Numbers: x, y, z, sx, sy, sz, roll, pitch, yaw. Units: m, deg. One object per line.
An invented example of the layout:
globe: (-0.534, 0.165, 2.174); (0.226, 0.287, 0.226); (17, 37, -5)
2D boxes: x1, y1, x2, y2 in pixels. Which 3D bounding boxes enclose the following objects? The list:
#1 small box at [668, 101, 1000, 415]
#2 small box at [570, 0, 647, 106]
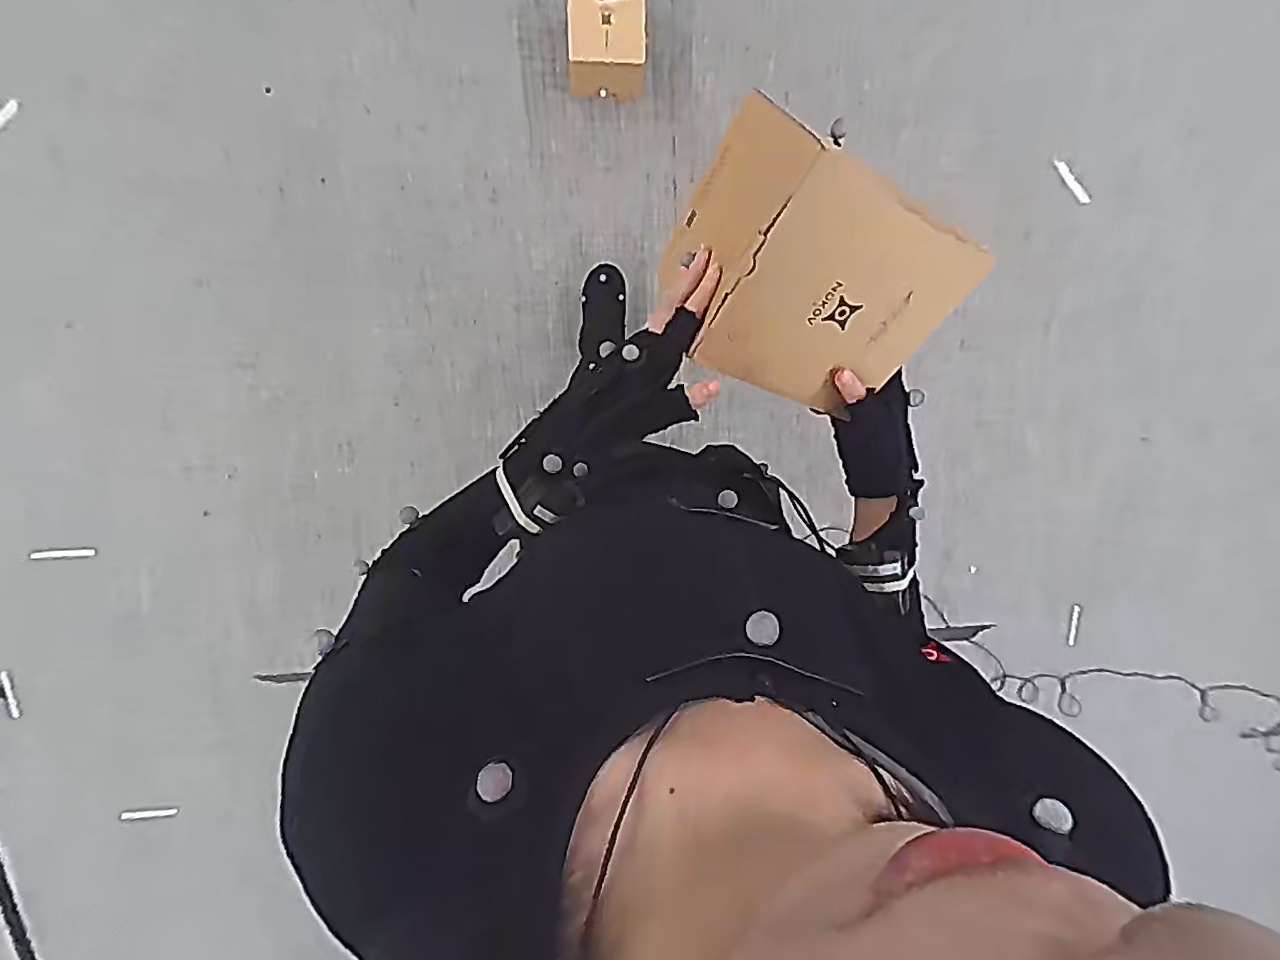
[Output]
small box: (0.141, -0.188, 0.461); (0.179, 0.176, 0.168); (13, 133, -24)
small box: (-0.075, -0.983, 1.220); (0.168, 0.176, 0.179); (-1, 103, -5)
